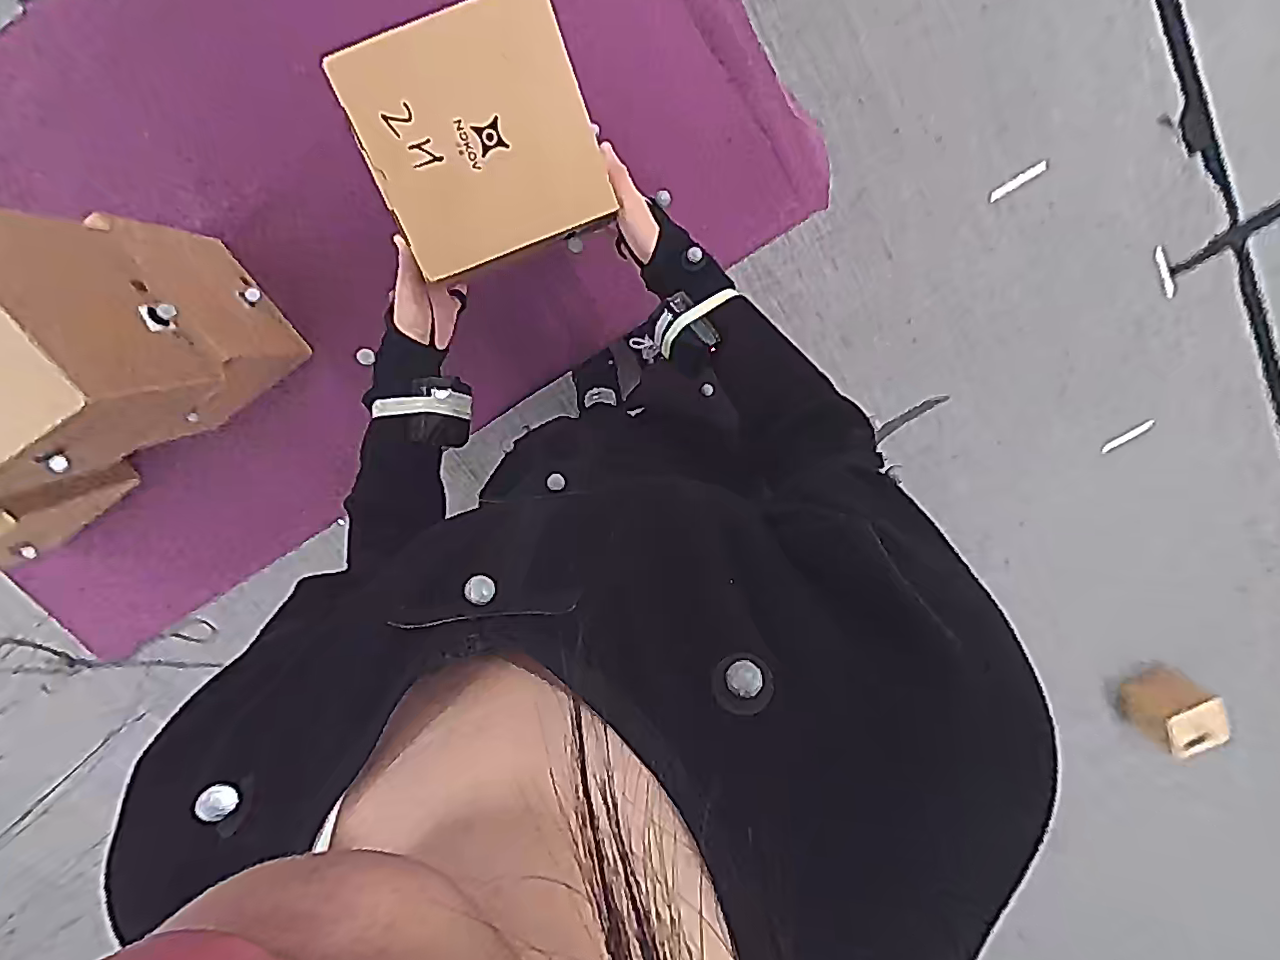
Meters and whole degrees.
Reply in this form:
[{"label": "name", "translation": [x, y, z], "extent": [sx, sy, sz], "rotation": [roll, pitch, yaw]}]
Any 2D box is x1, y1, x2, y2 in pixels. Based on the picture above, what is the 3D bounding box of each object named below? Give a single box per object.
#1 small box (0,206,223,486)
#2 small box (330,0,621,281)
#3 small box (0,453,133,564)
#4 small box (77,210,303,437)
[{"label": "small box", "translation": [-0.517, -0.105, 0.453], "extent": [0.179, 0.176, 0.168], "rotation": [-32, 107, 5]}, {"label": "small box", "translation": [-0.131, -0.294, 0.496], "extent": [0.179, 0.176, 0.168], "rotation": [-20, 112, 1]}, {"label": "small box", "translation": [-0.779, -0.003, 0.638], "extent": [0.168, 0.176, 0.179], "rotation": [-35, 104, 7]}, {"label": "small box", "translation": [-0.532, -0.161, 0.604], "extent": [0.179, 0.176, 0.168], "rotation": [-34, 105, 6]}]
